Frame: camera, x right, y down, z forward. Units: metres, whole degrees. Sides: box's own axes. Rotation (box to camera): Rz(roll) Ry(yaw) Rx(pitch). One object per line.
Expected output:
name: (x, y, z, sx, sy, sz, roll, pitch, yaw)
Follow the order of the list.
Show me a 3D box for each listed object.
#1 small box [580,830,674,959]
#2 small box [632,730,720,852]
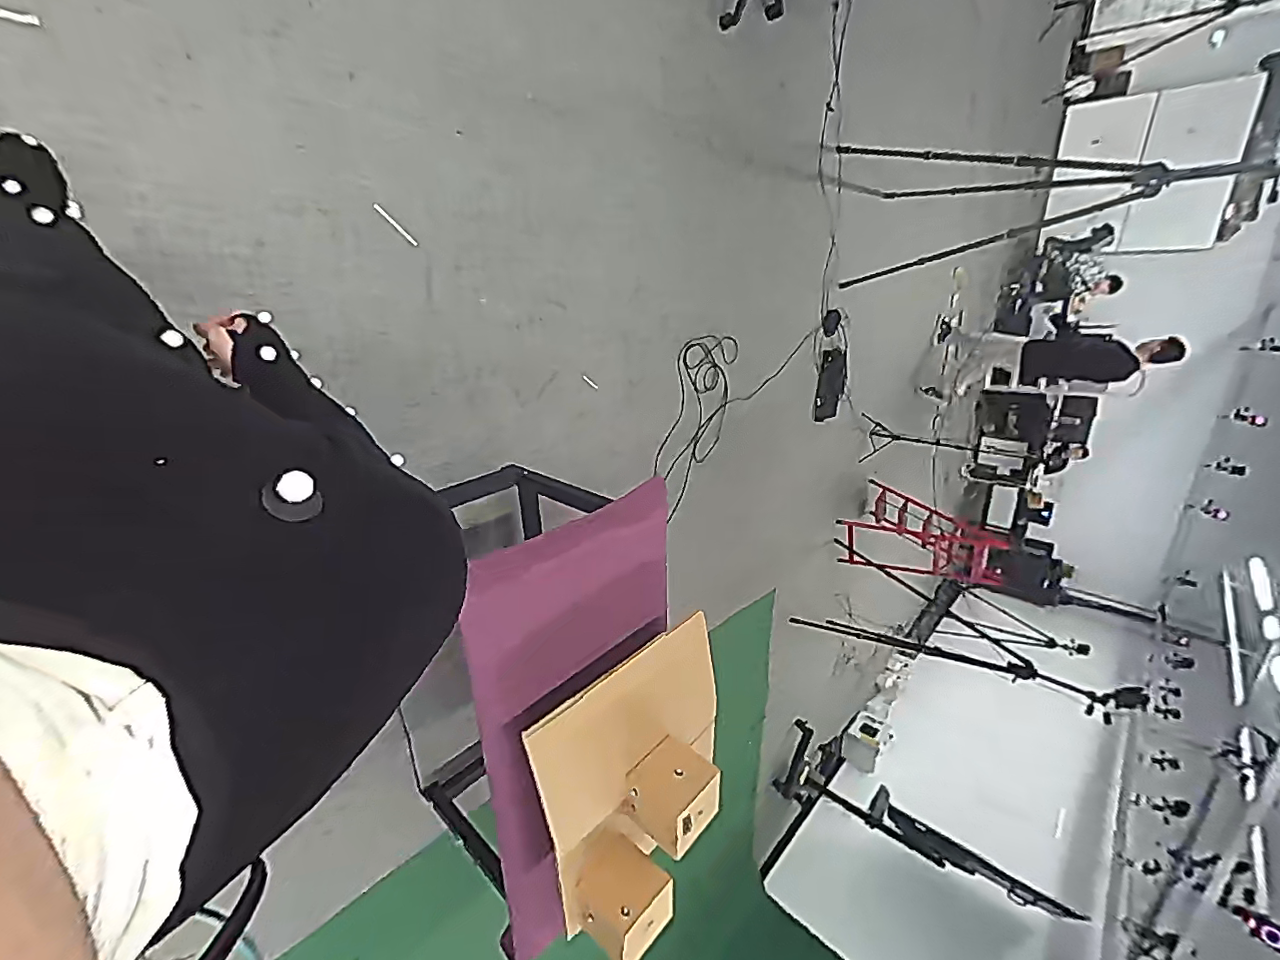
small box: (-0.032, 1.053, 1.381, 0.179, 0.176, 0.168, -24, 123, -40)
small box: (0.090, 0.803, 1.413, 0.179, 0.176, 0.168, -26, 124, -41)
